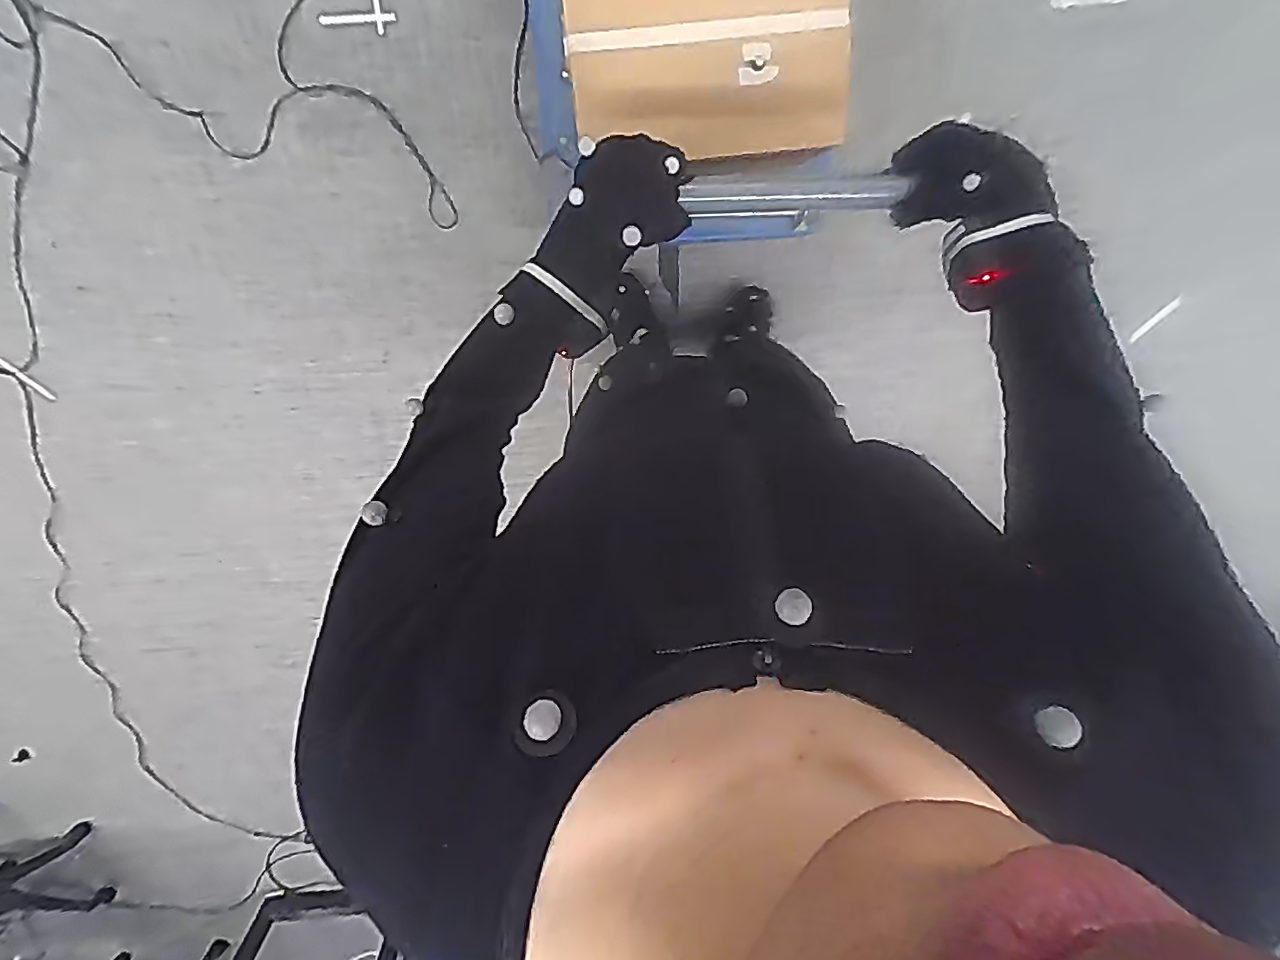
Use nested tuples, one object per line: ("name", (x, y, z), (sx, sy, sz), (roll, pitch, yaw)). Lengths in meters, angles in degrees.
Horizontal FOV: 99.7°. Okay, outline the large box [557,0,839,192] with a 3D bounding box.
("large box", (0.080, -0.701, 0.920), (0.408, 0.320, 0.320), (-7, 113, -3))
